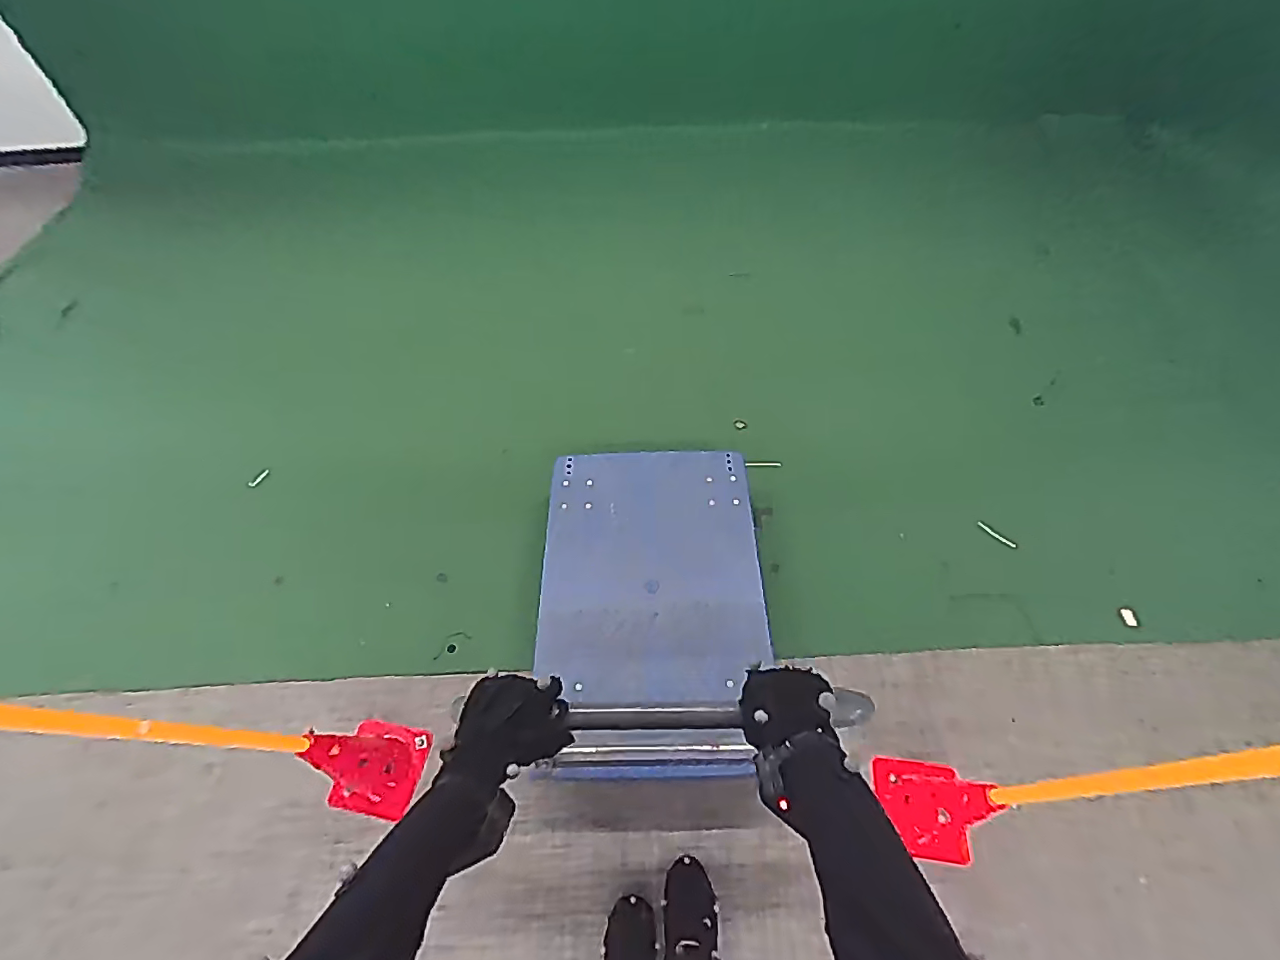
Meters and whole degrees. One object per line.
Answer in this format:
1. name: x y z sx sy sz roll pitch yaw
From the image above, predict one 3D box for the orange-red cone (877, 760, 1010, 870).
1. orange-red cone: 0.647 0.669 1.104 0.198 0.360 0.199 6 56 7
